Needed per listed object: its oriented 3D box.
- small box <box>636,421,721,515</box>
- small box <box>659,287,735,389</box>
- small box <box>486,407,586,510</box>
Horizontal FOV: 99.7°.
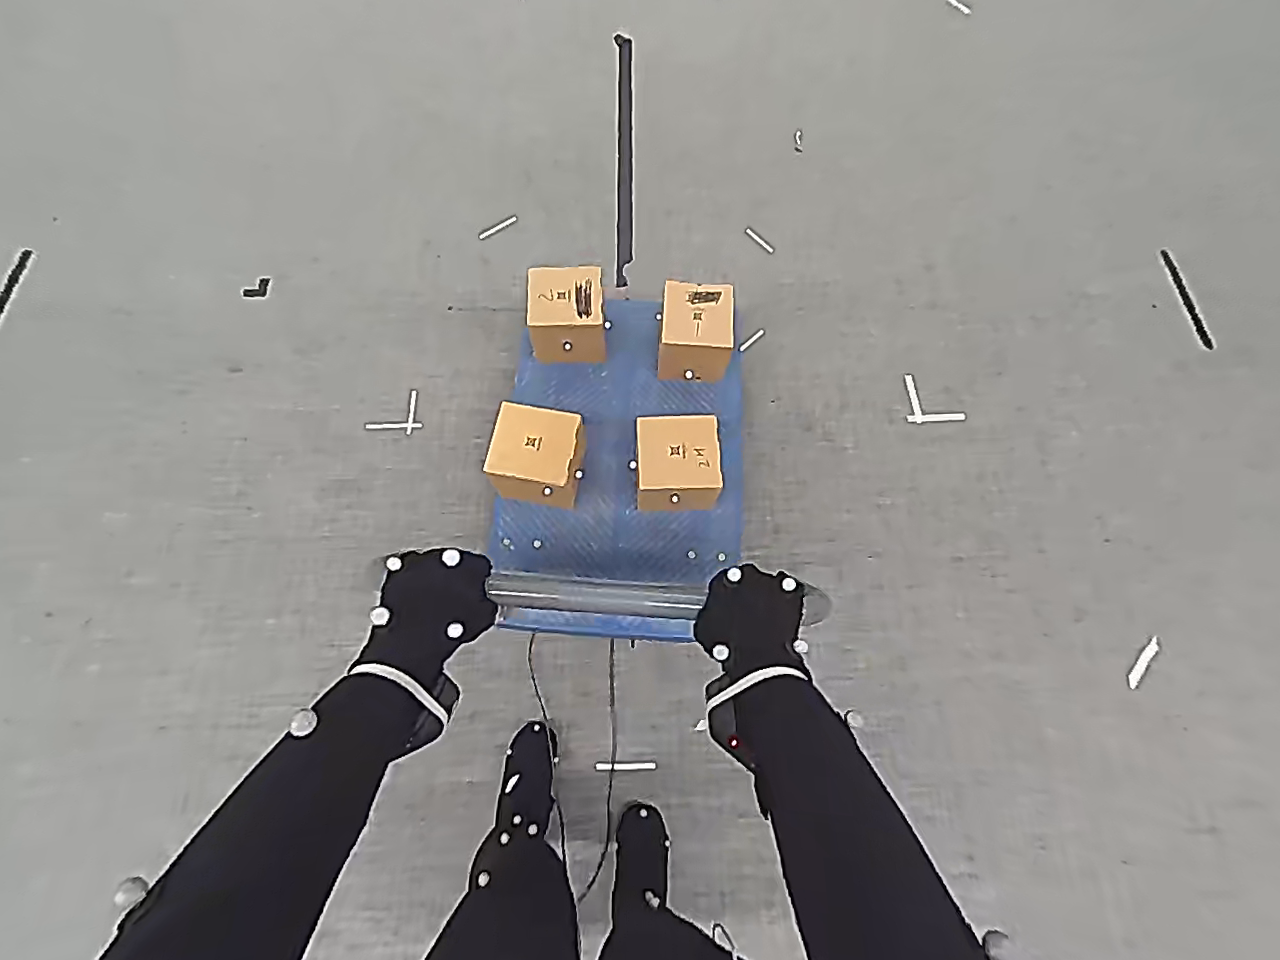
[{"bbox_3d":[0.081,-0.022,1.220,0.179,0.176,0.168,-1,70,-2],"label":"small box"},{"bbox_3d":[0.137,-0.348,1.341,0.168,0.176,0.179,4,71,0],"label":"small box"},{"bbox_3d":[-0.225,-0.042,1.219,0.179,0.176,0.168,10,69,1],"label":"small box"}]
